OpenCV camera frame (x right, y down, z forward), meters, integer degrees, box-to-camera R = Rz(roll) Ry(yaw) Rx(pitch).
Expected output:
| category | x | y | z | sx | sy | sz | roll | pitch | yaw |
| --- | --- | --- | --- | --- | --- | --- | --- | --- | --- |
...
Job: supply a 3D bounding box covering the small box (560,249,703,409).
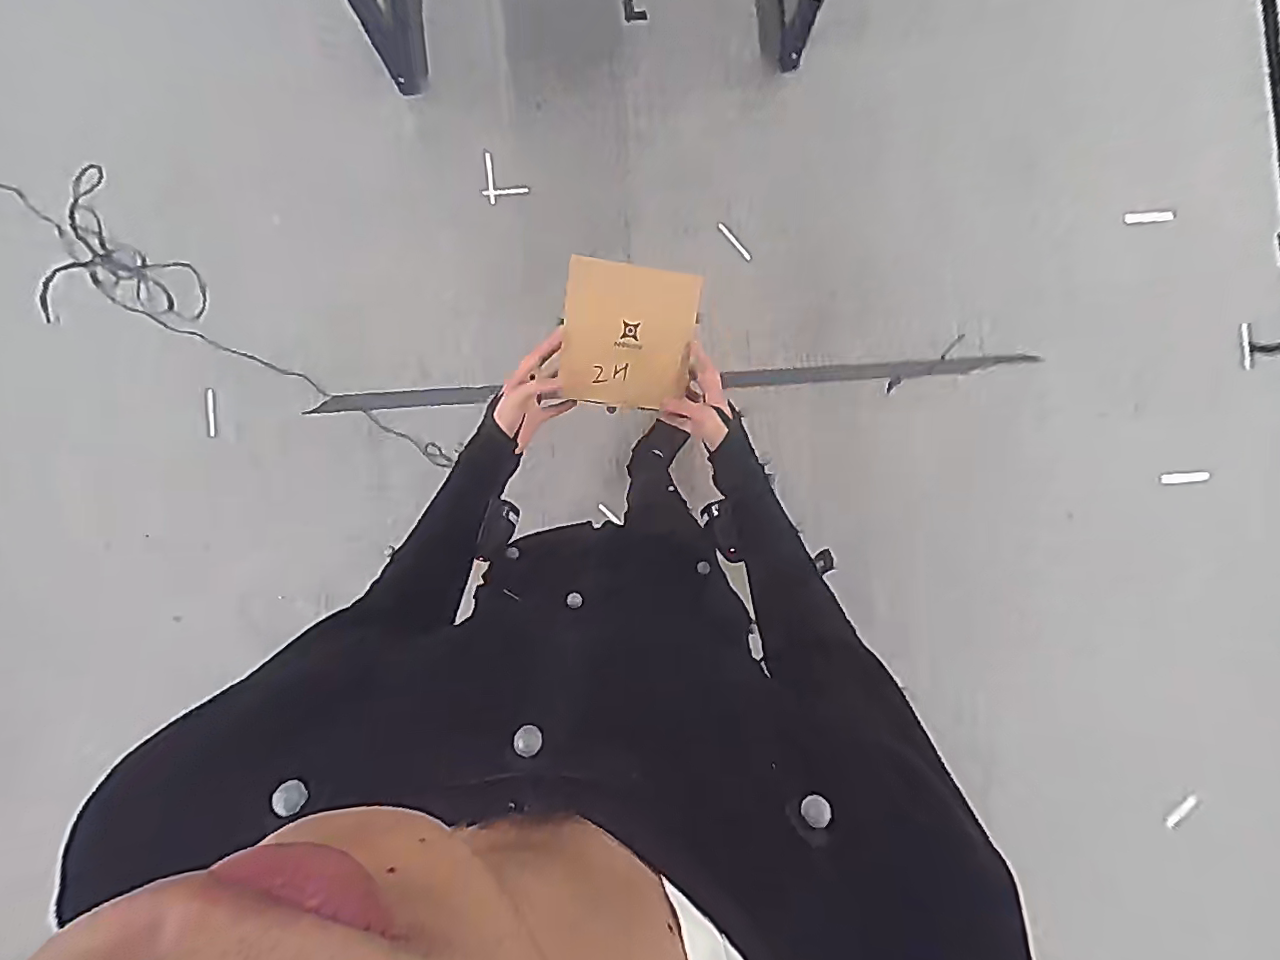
| category | x | y | z | sx | sy | sz | roll | pitch | yaw |
| --- | --- | --- | --- | --- | --- | --- | --- | --- | --- |
| small box | -0.022 | -0.202 | 0.754 | 0.168 | 0.176 | 0.179 | 6 | 102 | -9 |
